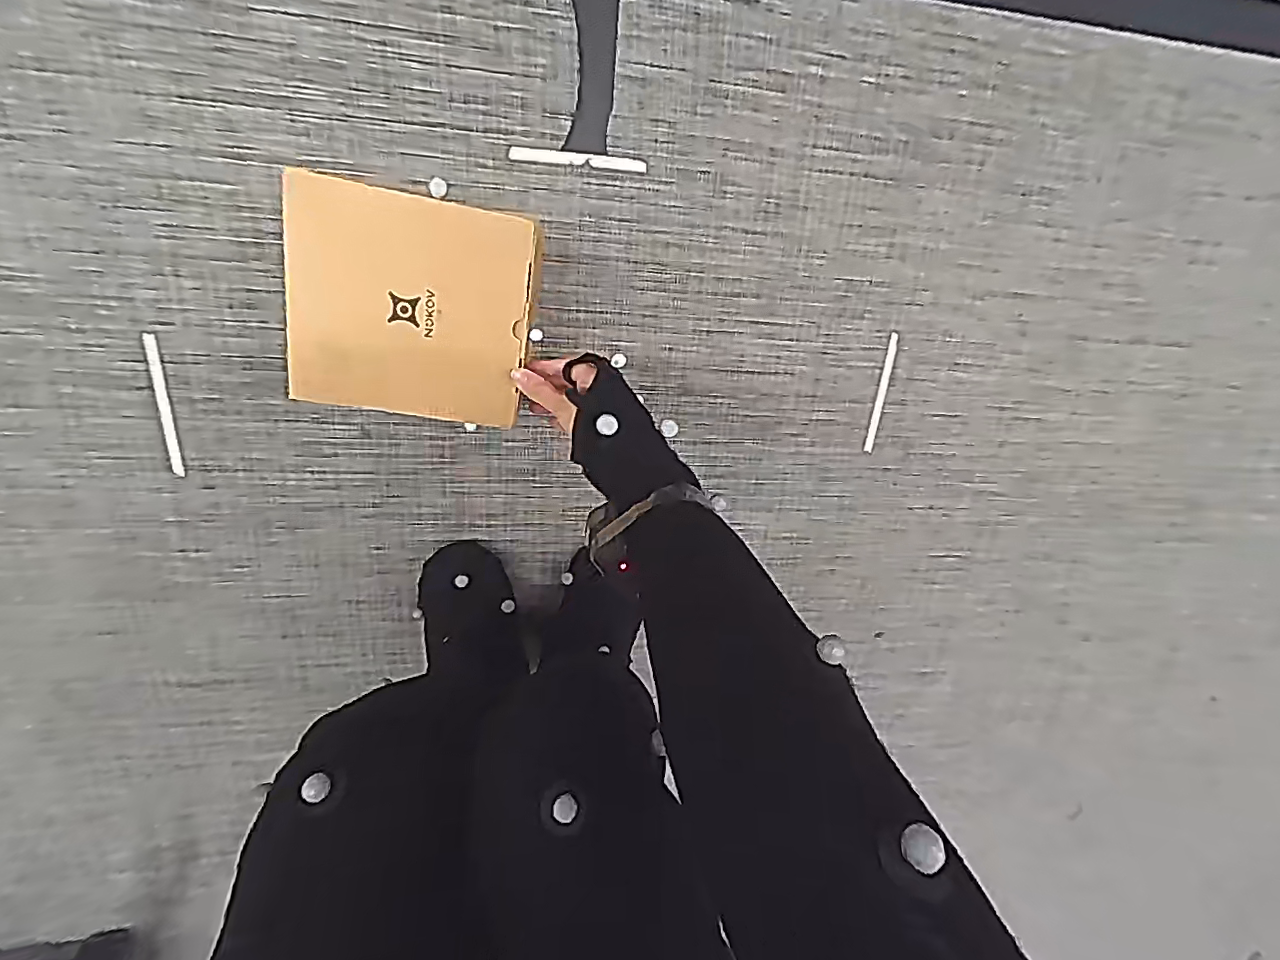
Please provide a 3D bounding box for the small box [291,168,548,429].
[{"bbox_3d":[-0.180,-0.155,0.483,0.179,0.176,0.168,6,110,-13],"label":"small box"}]
